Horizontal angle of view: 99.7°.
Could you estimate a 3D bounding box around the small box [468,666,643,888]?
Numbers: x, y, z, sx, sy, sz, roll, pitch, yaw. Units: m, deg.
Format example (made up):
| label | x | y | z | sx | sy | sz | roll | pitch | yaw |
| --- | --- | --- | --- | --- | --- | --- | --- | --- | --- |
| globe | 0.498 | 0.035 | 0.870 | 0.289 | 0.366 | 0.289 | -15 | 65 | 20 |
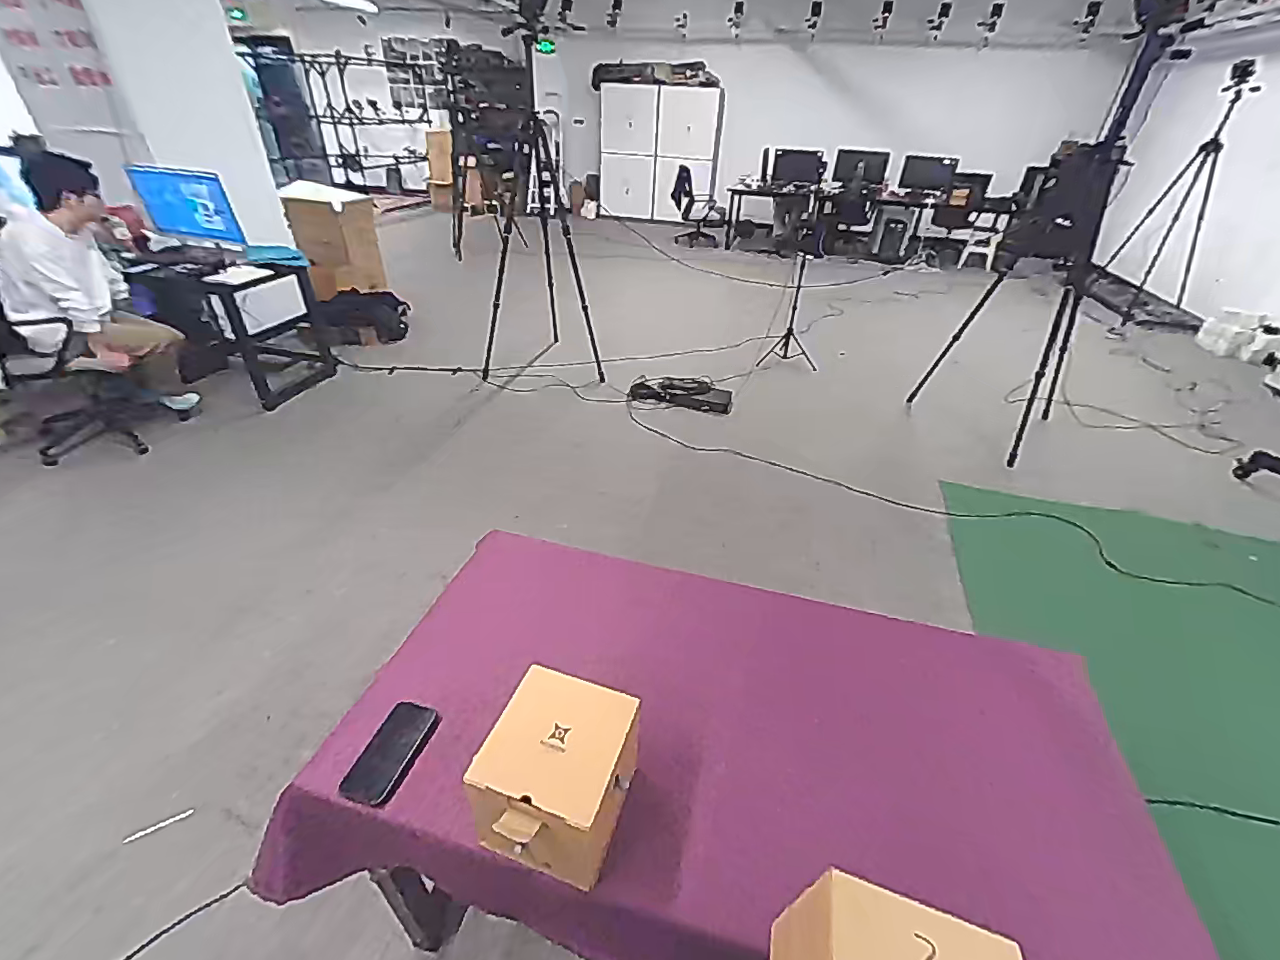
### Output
| label | x | y | z | sx | sy | sz | roll | pitch | yaw |
| --- | --- | --- | --- | --- | --- | --- | --- | --- | --- |
| small box | -0.106 | 0.394 | 0.727 | 0.168 | 0.176 | 0.179 | 14 | 36 | 14 |
